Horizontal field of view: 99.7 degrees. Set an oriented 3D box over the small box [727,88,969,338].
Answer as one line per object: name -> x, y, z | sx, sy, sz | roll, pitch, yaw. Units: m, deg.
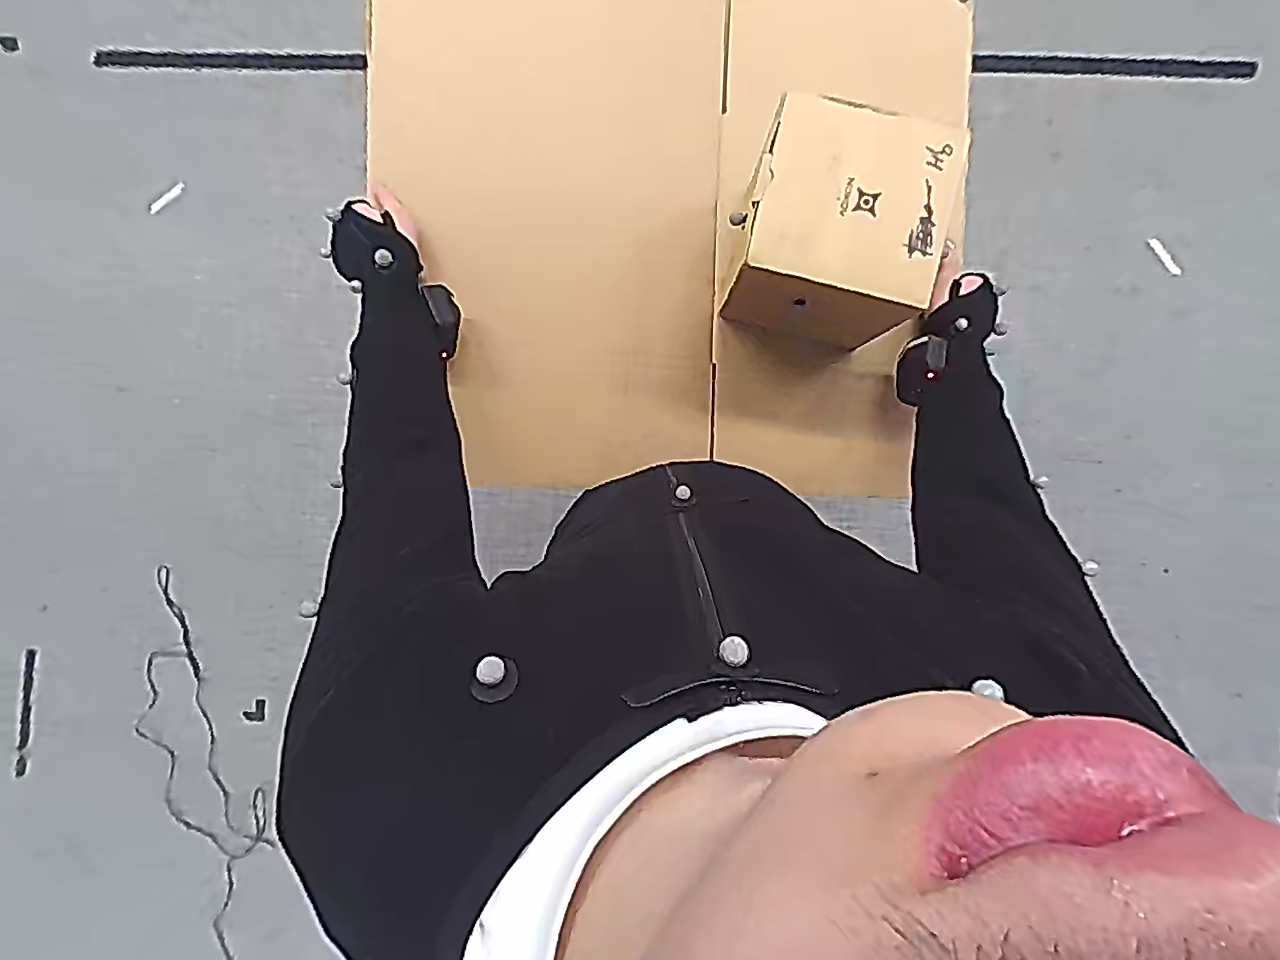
small box -> 0.200, -0.264, 0.577 | 0.179, 0.176, 0.168 | 14, 92, 1
